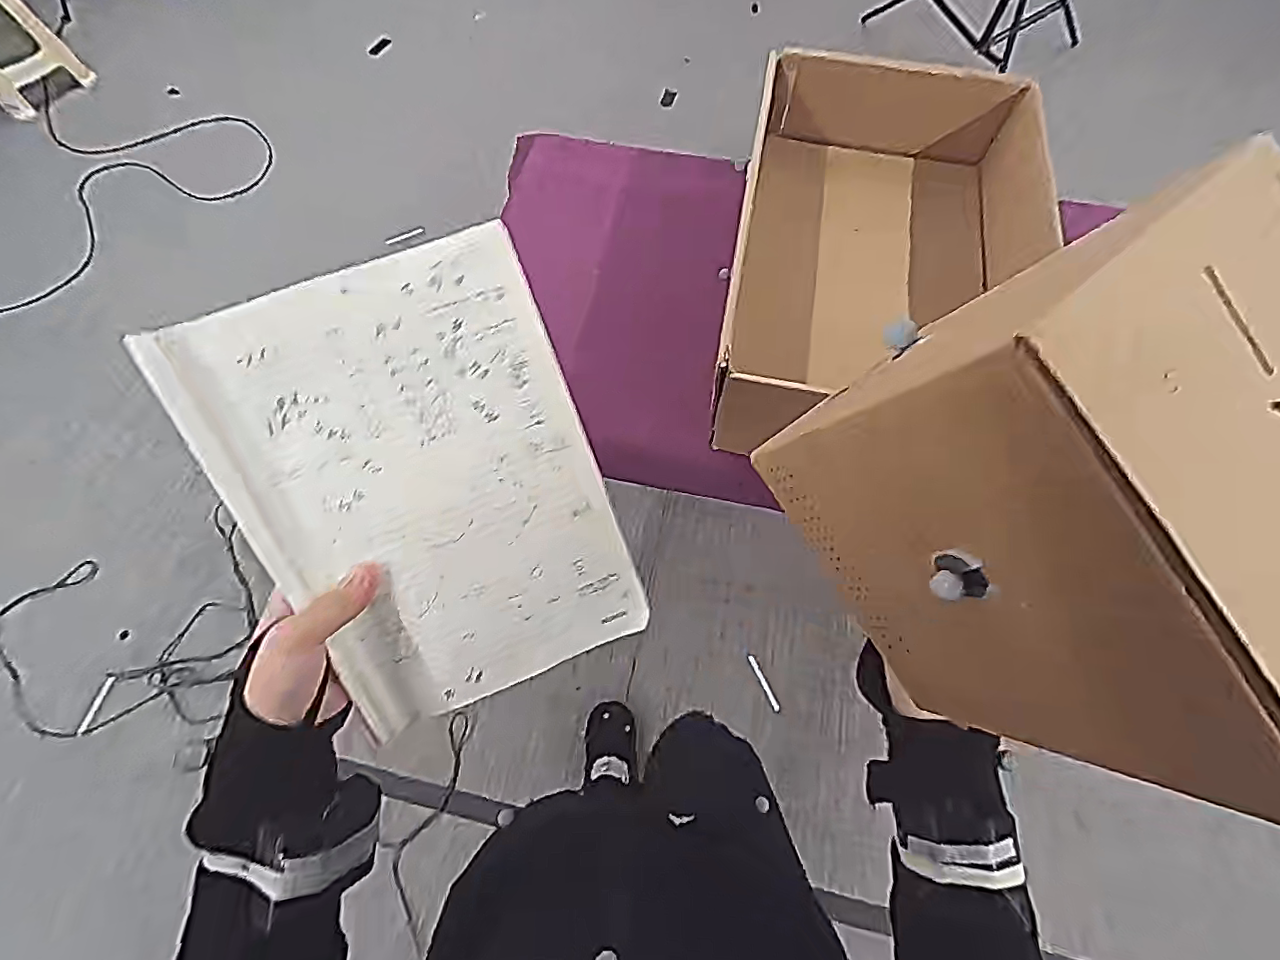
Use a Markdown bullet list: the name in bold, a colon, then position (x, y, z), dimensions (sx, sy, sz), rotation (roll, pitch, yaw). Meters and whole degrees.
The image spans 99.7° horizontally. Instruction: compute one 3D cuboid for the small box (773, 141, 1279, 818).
- **small box**: position (0.199, 0.000, 0.247), dimensions (0.168, 0.176, 0.179), rotation (-33, 90, -19)
